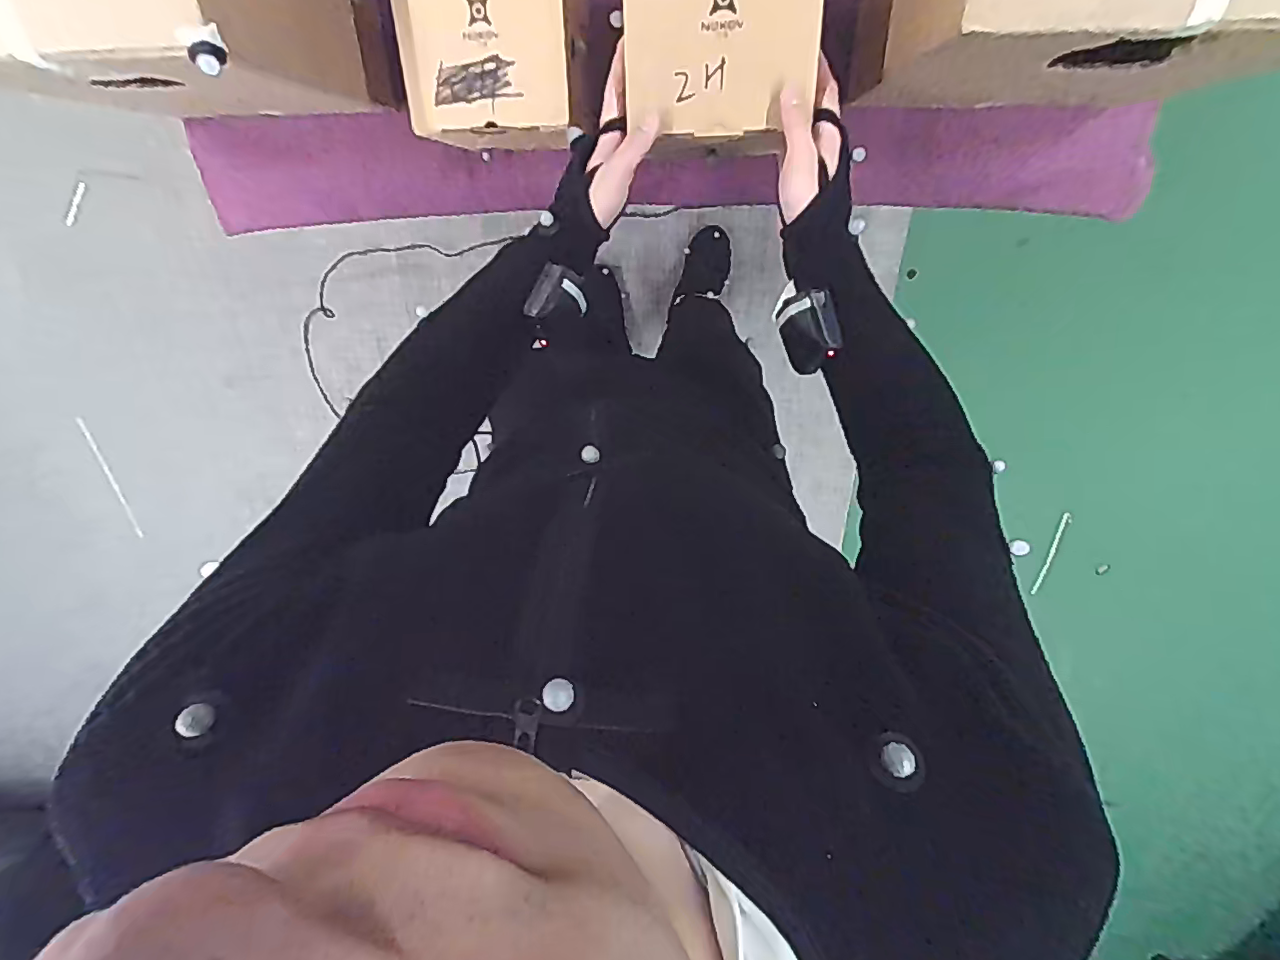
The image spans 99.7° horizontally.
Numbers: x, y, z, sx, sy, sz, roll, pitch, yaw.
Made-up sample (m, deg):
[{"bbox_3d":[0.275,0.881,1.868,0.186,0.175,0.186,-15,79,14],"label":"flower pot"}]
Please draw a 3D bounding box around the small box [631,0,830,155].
[{"bbox_3d":[0.078,-0.423,0.514,0.168,0.176,0.179,0,116,5],"label":"small box"}]

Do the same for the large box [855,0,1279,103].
[{"bbox_3d":[0.392,-0.556,0.417,0.320,0.320,0.408,2,118,4],"label":"large box"}]
